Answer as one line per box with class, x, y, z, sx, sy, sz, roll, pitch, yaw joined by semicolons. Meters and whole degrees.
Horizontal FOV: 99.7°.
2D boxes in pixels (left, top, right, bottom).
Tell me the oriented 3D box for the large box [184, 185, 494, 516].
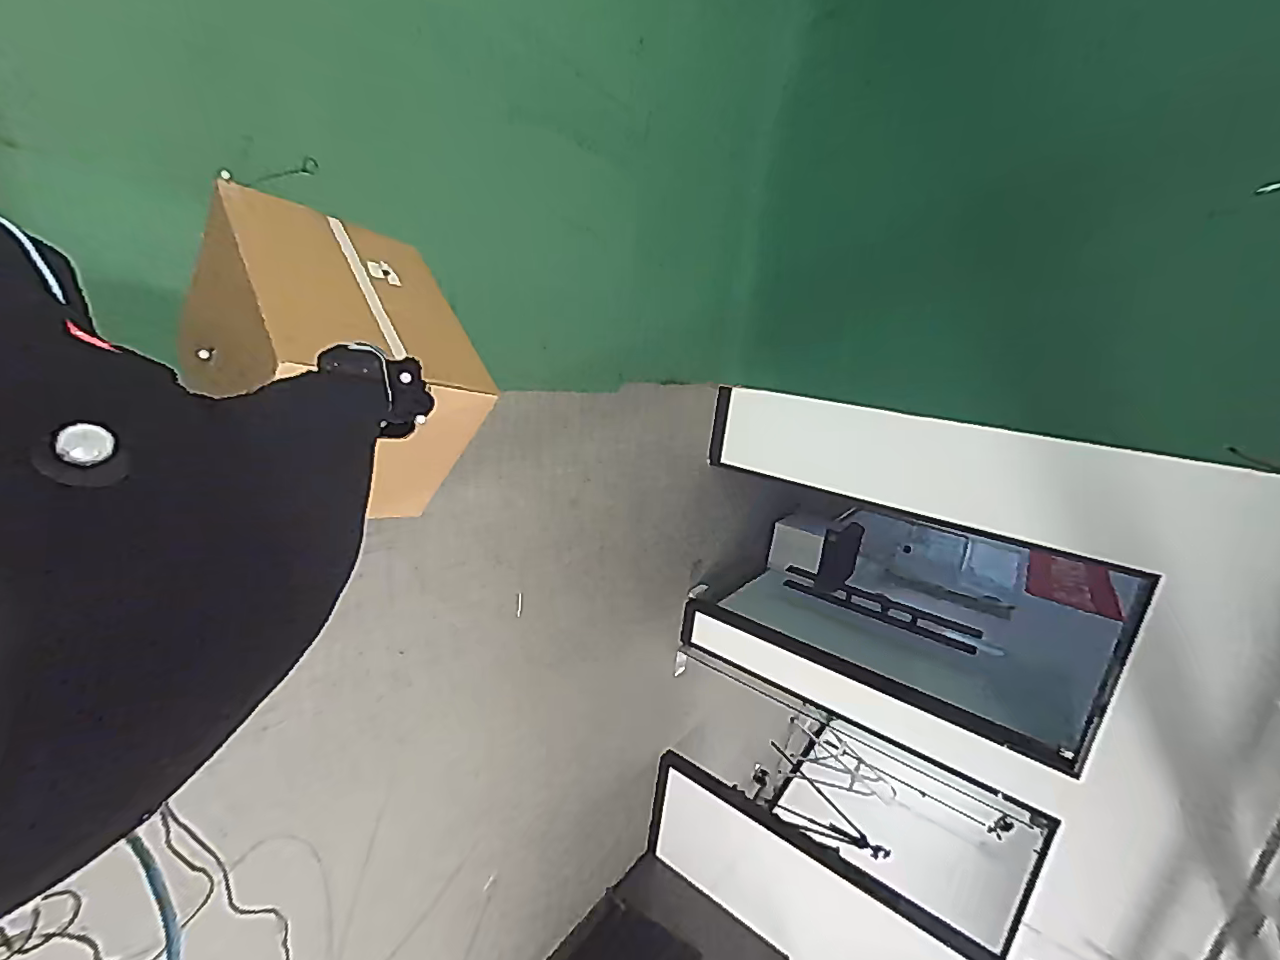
large box;-0.517;-0.192;0.909;0.320;0.408;0.320;2;137;-52
